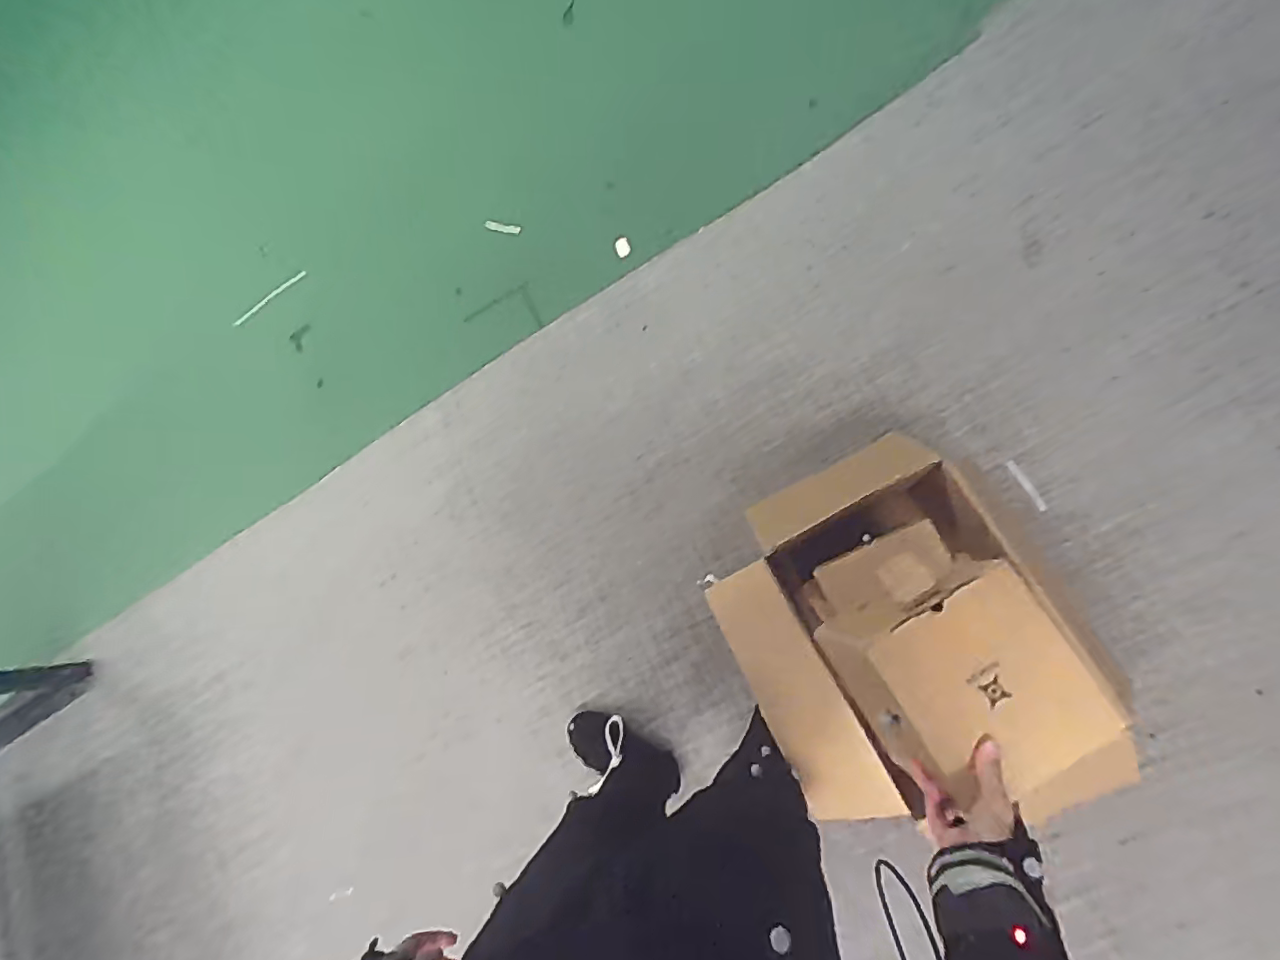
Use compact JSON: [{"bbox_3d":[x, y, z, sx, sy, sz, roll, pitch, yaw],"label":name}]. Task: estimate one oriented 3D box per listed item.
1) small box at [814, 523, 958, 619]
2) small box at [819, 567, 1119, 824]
[{"bbox_3d":[0.381,0.176,0.828,0.179,0.176,0.168,-28,76,12],"label":"small box"},{"bbox_3d":[0.322,0.208,0.573,0.168,0.176,0.179,-29,78,-4],"label":"small box"}]
